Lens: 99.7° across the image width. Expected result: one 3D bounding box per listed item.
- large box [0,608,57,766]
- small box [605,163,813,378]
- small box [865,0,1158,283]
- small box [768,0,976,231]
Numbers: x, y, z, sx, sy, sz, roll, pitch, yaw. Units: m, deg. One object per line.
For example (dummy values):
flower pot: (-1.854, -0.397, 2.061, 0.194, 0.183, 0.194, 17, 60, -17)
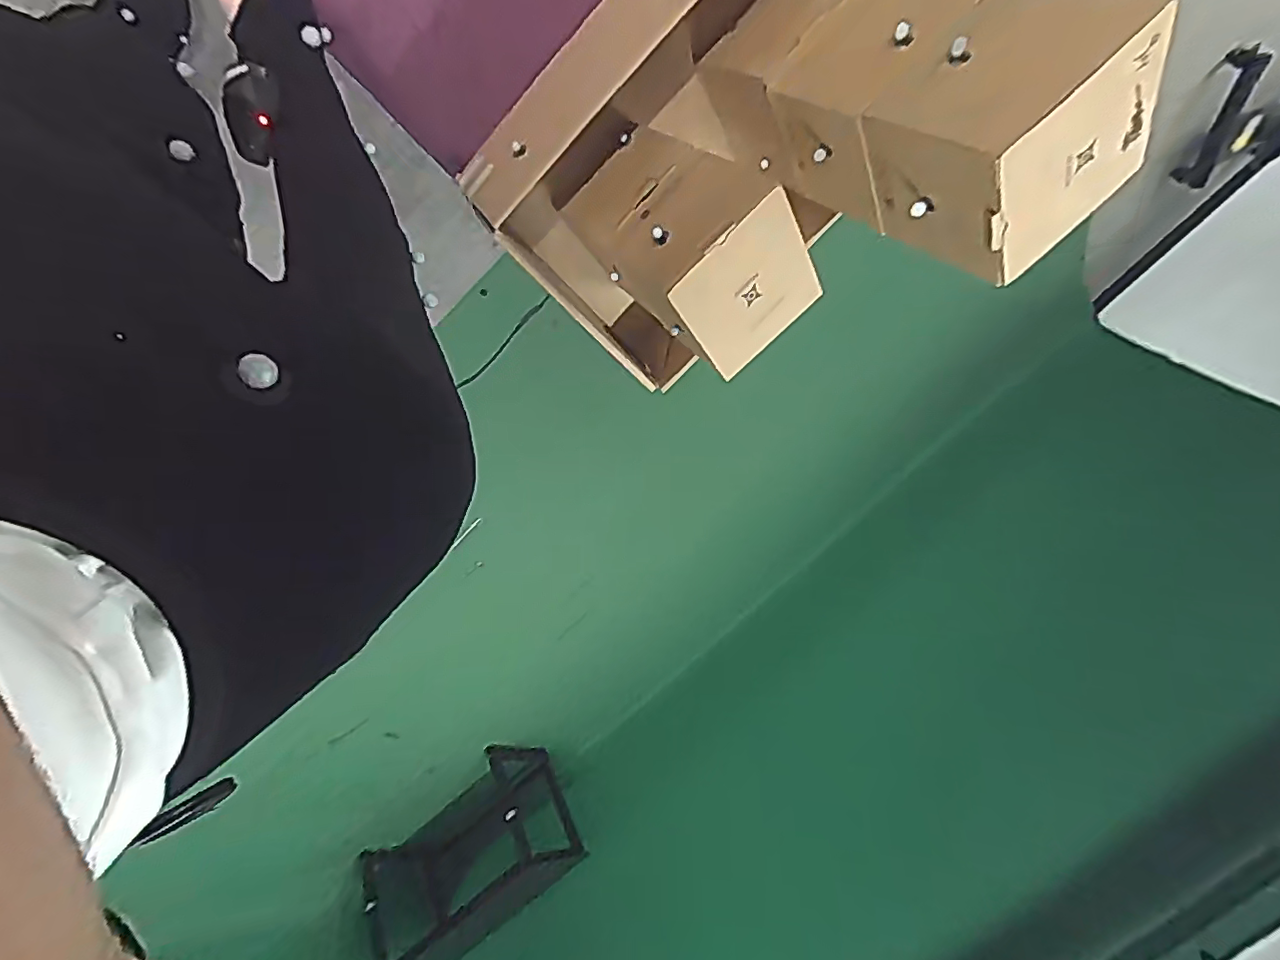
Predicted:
large box: (-1.884, 0.584, 1.426, 0.408, 0.320, 0.320, -4, 131, -36)
small box: (0.084, -0.271, 0.691, 0.168, 0.176, 0.179, -42, 140, 7)
small box: (0.358, -0.349, 0.558, 0.179, 0.176, 0.168, -42, 141, 8)
small box: (0.281, -0.452, 0.662, 0.179, 0.176, 0.168, -43, 140, 8)
